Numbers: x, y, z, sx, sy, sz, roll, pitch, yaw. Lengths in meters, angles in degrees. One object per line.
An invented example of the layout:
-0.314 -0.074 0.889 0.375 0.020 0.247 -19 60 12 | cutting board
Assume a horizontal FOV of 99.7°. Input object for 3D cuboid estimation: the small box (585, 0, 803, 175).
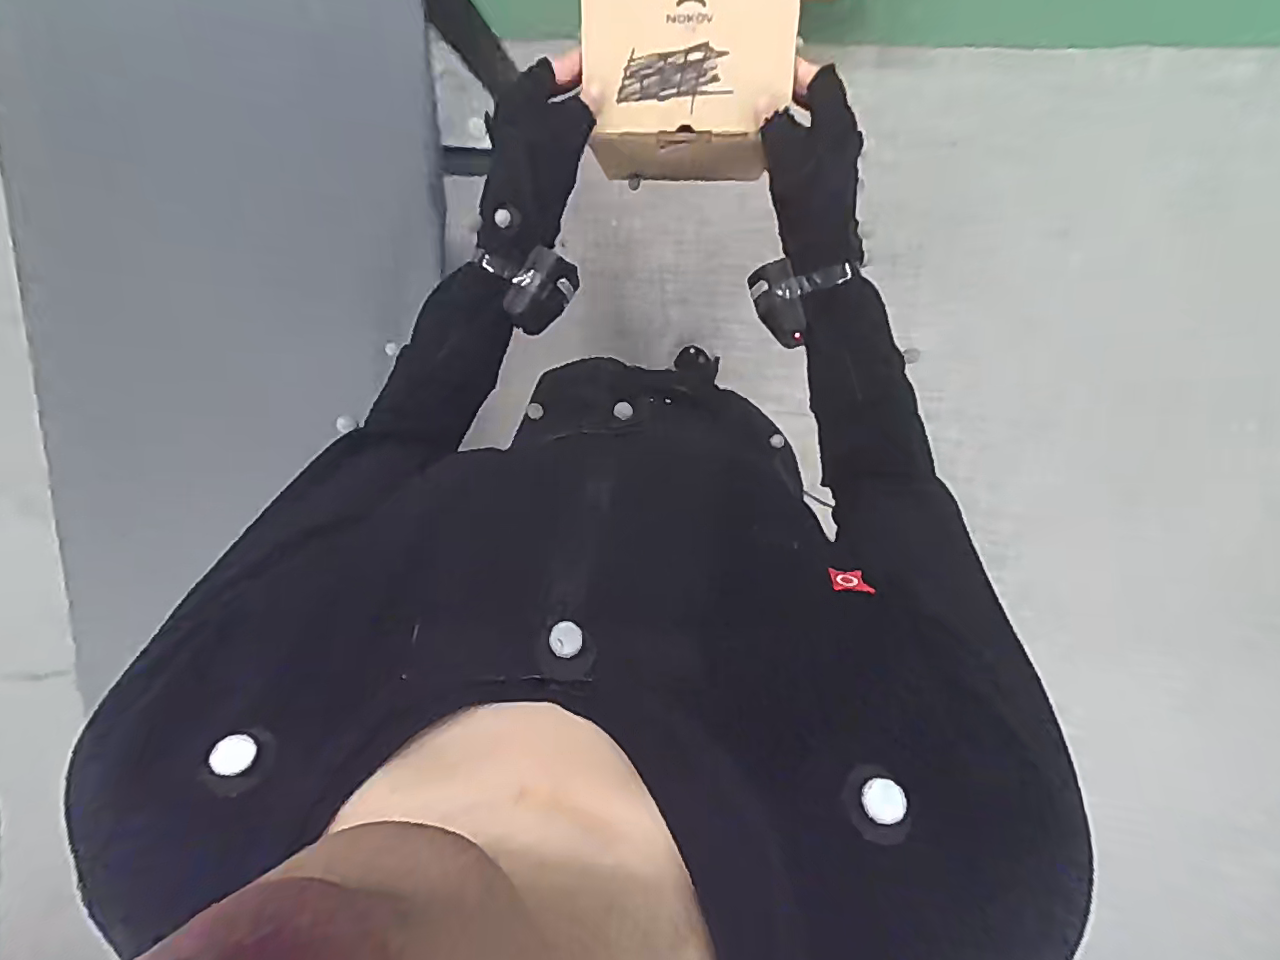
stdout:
0.046 -0.385 0.480 0.168 0.176 0.179 3 108 3 | small box
